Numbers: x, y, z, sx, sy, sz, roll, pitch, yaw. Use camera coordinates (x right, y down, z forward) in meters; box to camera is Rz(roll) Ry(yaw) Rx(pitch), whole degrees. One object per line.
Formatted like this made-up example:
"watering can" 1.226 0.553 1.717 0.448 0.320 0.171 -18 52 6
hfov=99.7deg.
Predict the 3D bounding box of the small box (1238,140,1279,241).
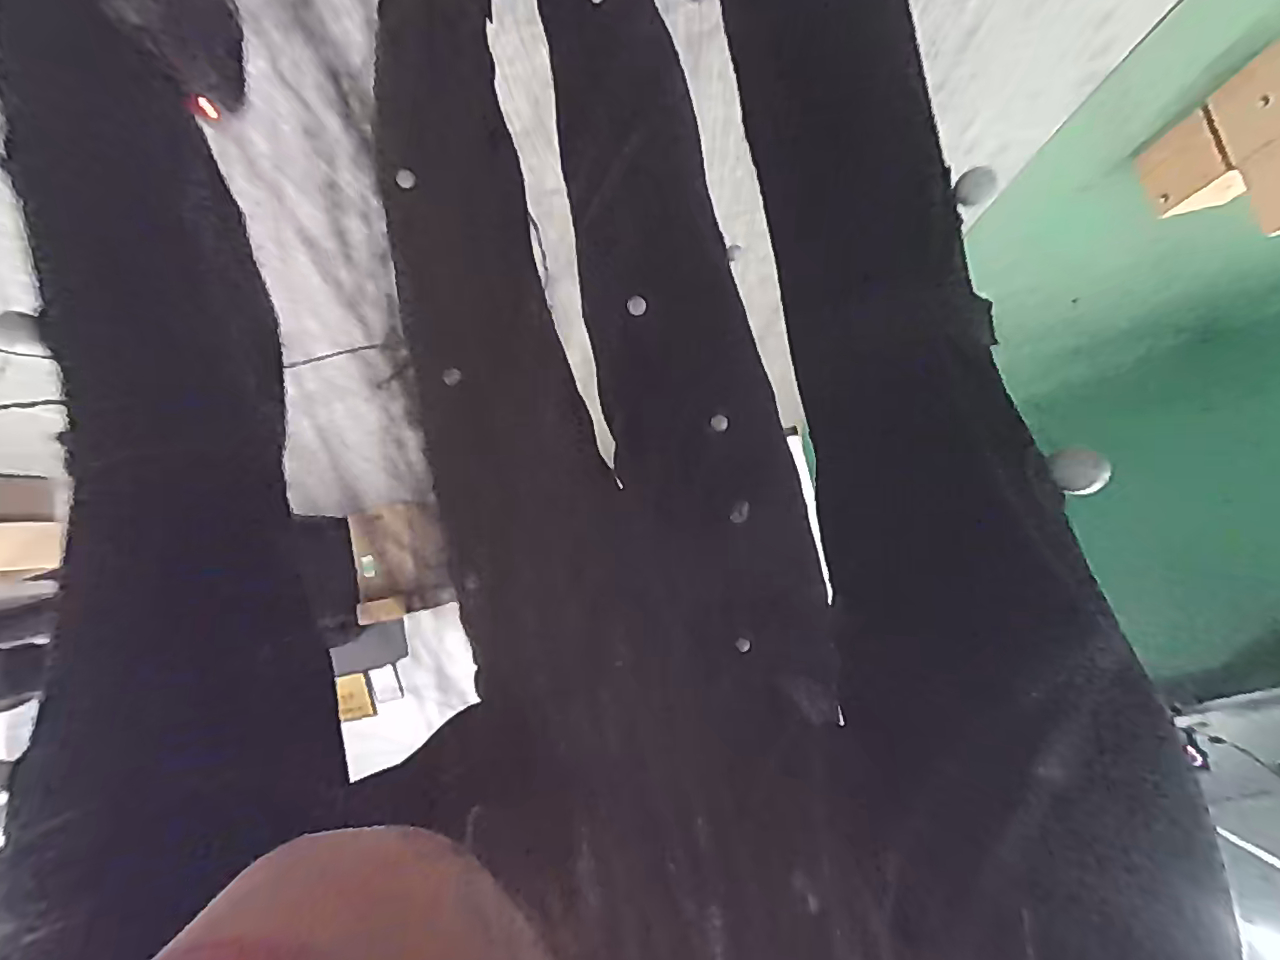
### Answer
"small box" 1.324 -0.596 1.028 0.168 0.176 0.179 -12 172 1
